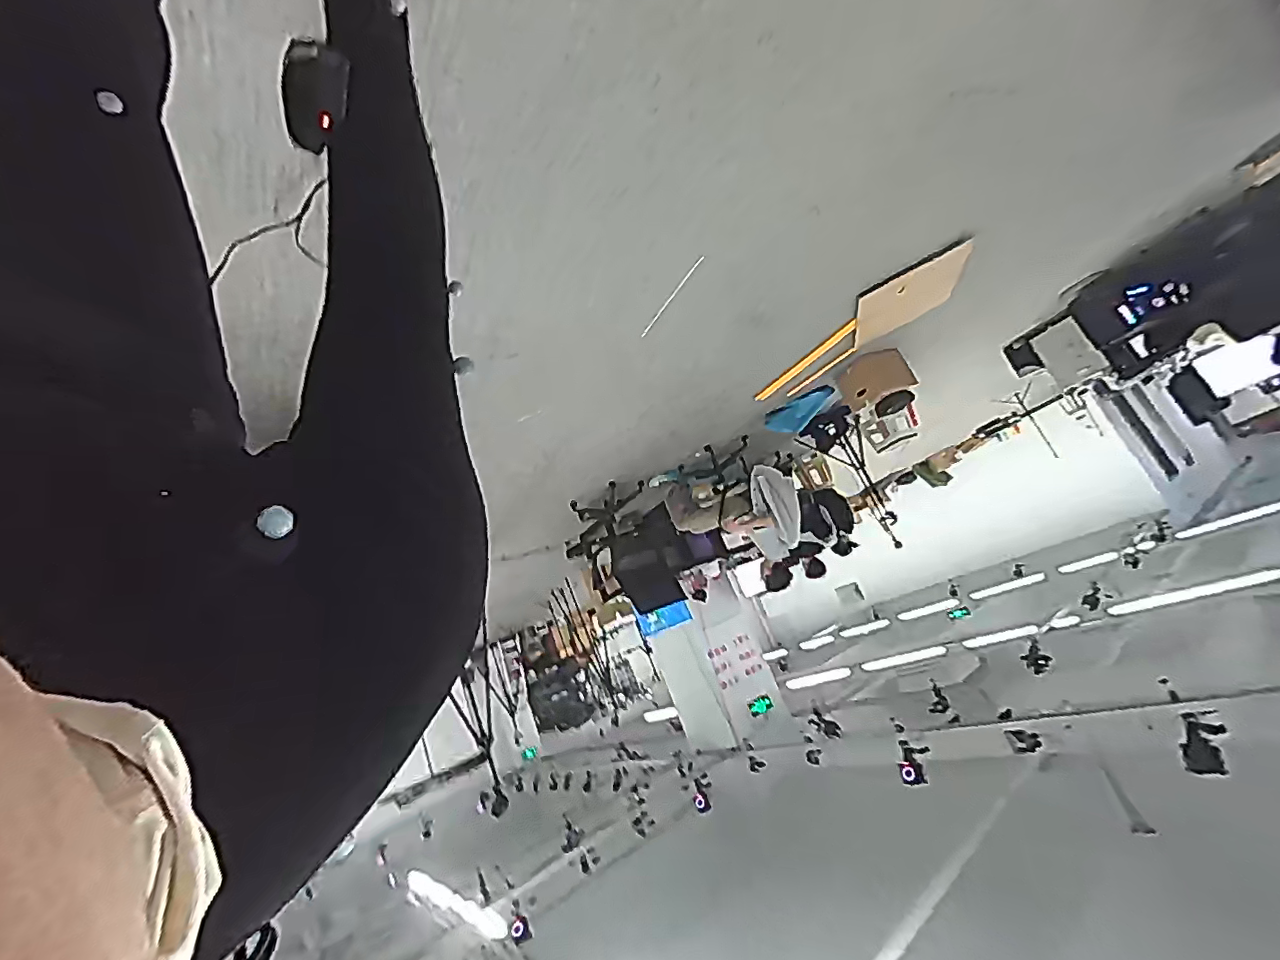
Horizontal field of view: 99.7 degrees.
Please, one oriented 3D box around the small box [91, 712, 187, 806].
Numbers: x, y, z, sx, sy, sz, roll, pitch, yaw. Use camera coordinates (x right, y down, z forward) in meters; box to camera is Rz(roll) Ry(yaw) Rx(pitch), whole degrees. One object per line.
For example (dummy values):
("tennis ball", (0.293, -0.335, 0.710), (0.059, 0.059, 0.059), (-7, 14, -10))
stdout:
("small box", (-1.341, 0.745, 1.453), (0.168, 0.176, 0.179), (-9, 158, -39))
